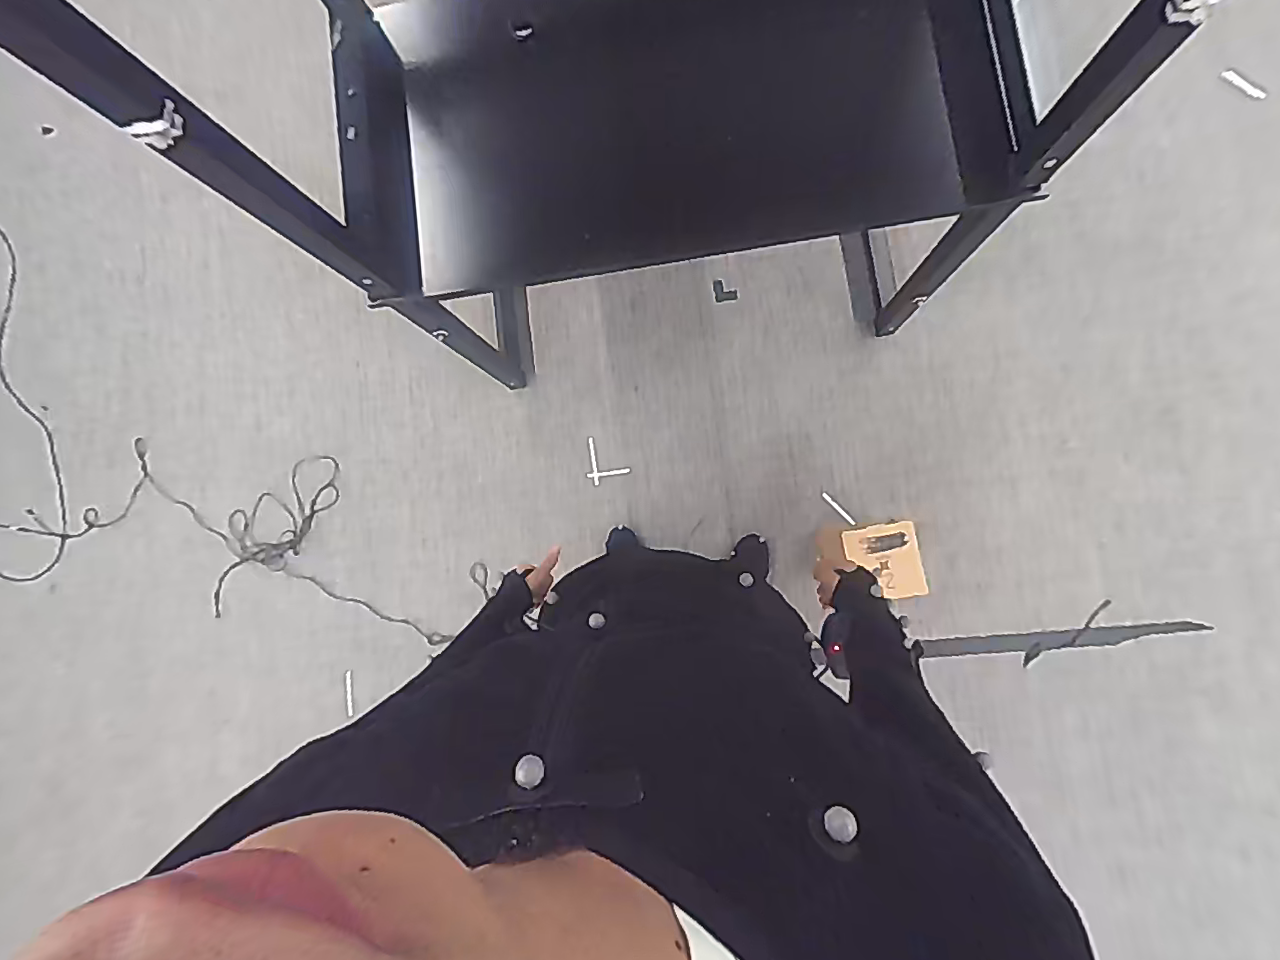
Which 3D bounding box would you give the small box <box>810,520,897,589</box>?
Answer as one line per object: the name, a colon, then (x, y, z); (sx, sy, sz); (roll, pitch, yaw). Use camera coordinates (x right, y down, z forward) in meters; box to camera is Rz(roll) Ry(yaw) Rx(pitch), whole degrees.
small box: (0.586, 0.203, 1.502); (0.179, 0.176, 0.168); (-8, 85, 6)
